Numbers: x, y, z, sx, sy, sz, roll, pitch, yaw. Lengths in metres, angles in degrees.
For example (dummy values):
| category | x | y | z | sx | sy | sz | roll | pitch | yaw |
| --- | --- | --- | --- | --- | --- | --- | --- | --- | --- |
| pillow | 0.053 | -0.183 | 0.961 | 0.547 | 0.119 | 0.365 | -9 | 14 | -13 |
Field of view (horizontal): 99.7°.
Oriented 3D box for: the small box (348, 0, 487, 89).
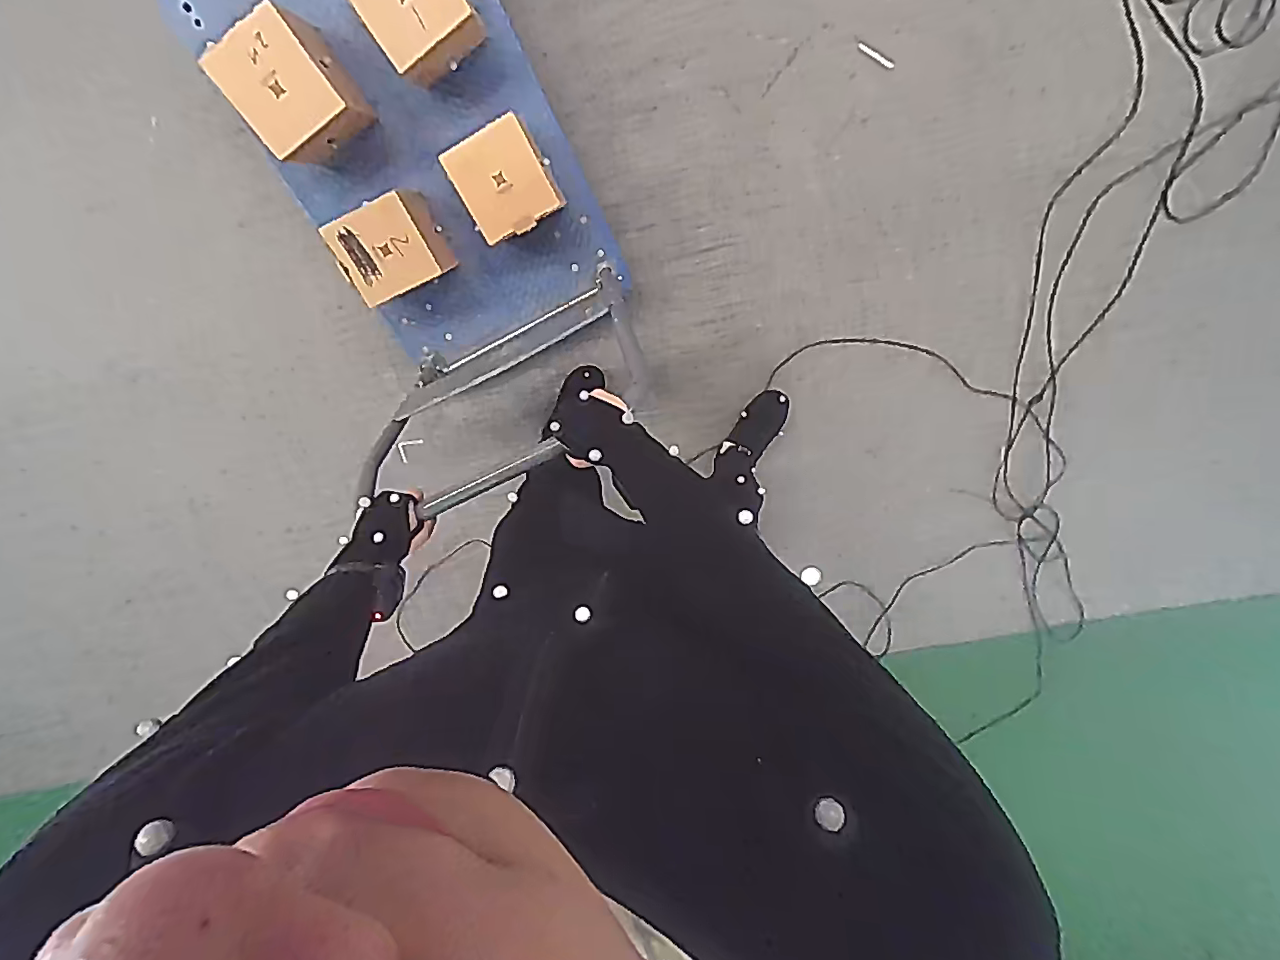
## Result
| category | x | y | z | sx | sy | sz | roll | pitch | yaw |
| --- | --- | --- | --- | --- | --- | --- | --- | --- | --- |
| small box | -0.398 | -0.836 | 0.955 | 0.168 | 0.176 | 0.179 | -30 | 117 | 12 |

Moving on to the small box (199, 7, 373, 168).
| category | x | y | z | sx | sy | sz | roll | pitch | yaw |
| --- | --- | --- | --- | --- | --- | --- | --- | --- | --- |
| small box | -0.636 | -0.710 | 1.001 | 0.168 | 0.176 | 0.179 | -30 | 117 | 10 |

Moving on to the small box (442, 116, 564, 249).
| category | x | y | z | sx | sy | sz | roll | pitch | yaw |
| --- | --- | --- | --- | --- | --- | --- | --- | --- | --- |
| small box | -0.268 | -0.597 | 1.098 | 0.168 | 0.176 | 0.179 | -26 | 118 | 9 |
